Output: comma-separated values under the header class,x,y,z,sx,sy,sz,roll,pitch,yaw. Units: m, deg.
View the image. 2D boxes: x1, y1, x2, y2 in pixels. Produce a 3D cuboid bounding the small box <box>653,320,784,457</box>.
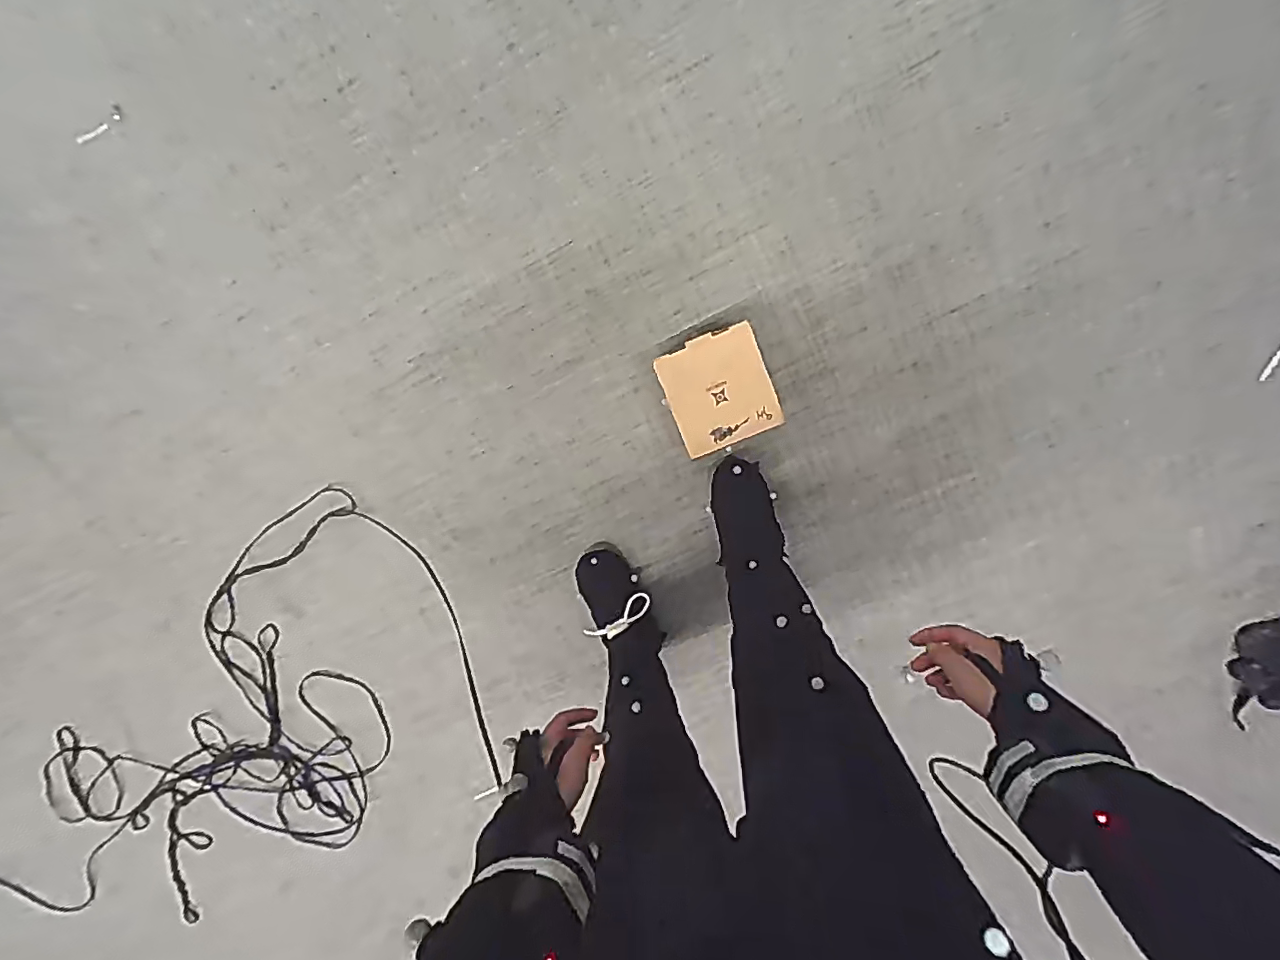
class,x,y,z,sx,sy,sz,roll,pitch,yaw
small box,0.130,-0.157,0.942,0.168,0.176,0.179,-22,99,8
